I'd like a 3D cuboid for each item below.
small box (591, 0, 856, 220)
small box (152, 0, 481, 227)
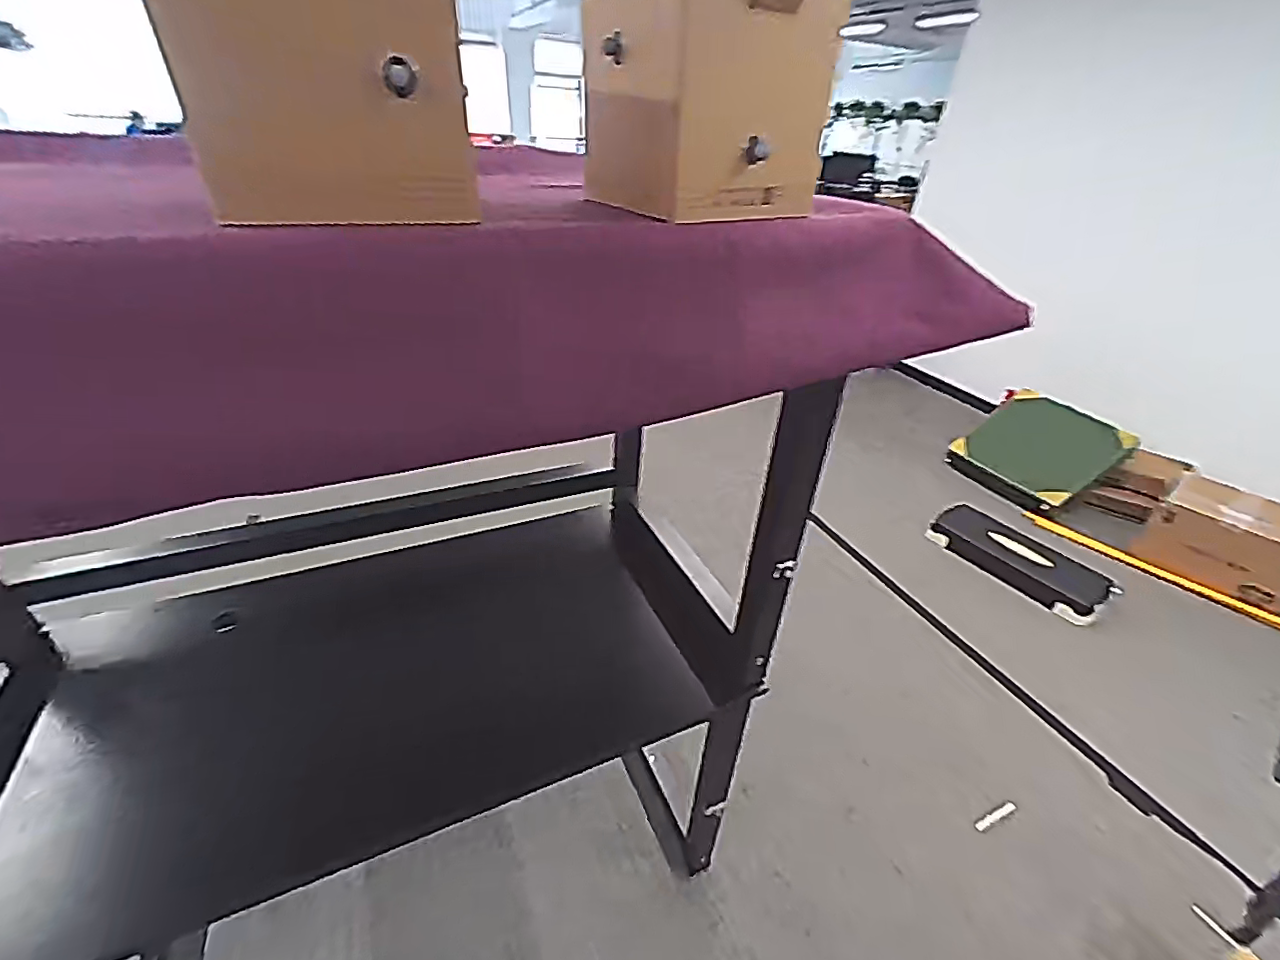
[{"bbox_3d":[0.062,-0.348,0.509,0.168,0.176,0.179,-16,37,-26],"label":"small box"},{"bbox_3d":[-0.220,-0.295,0.406,0.179,0.176,0.168,-10,35,-19],"label":"small box"}]
